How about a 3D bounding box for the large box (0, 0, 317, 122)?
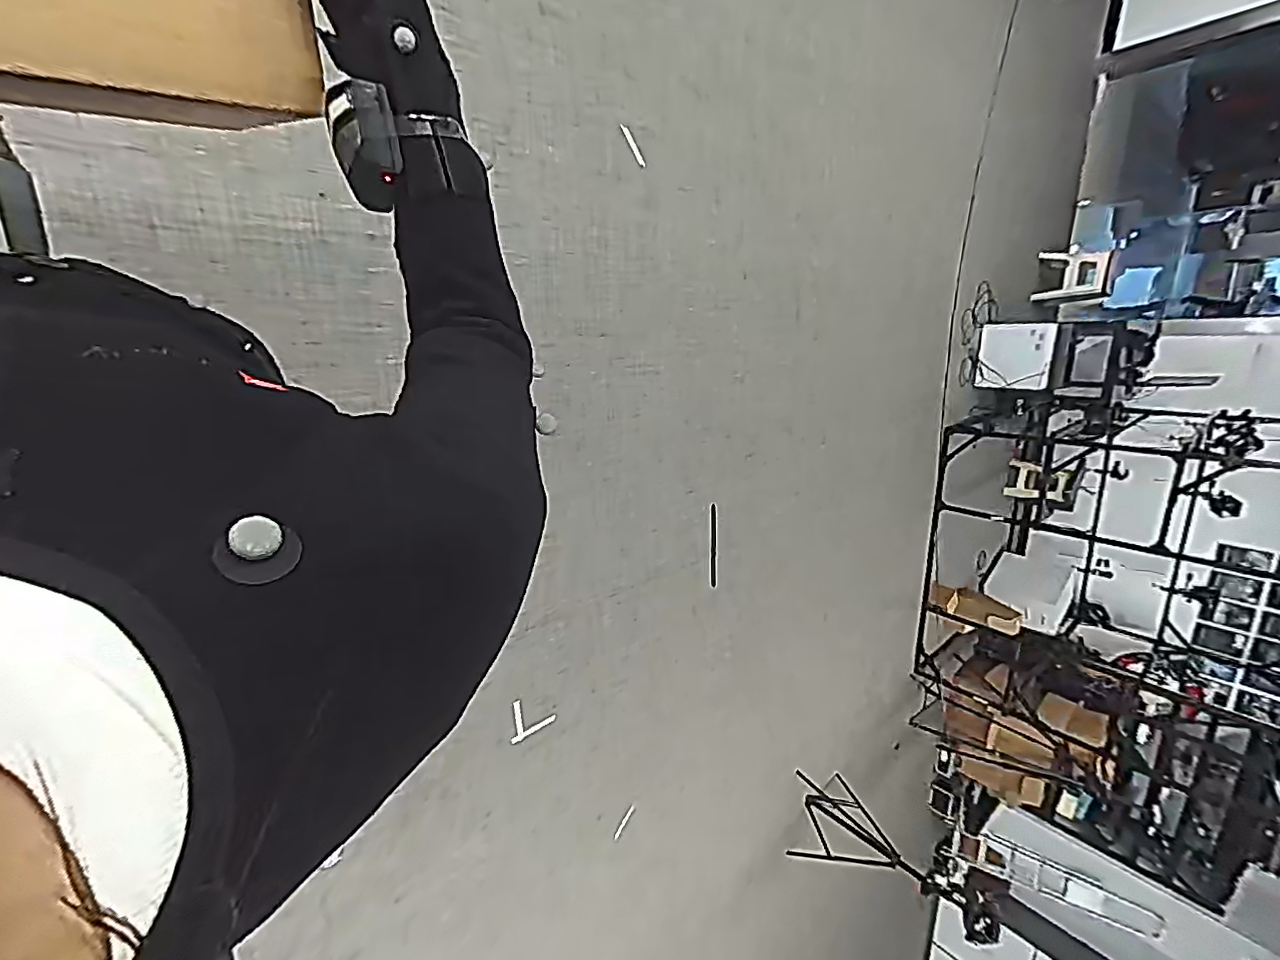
[{"bbox_3d":[-0.470,-0.406,0.294,0.408,0.320,0.320,-20,127,-39],"label":"large box"}]
